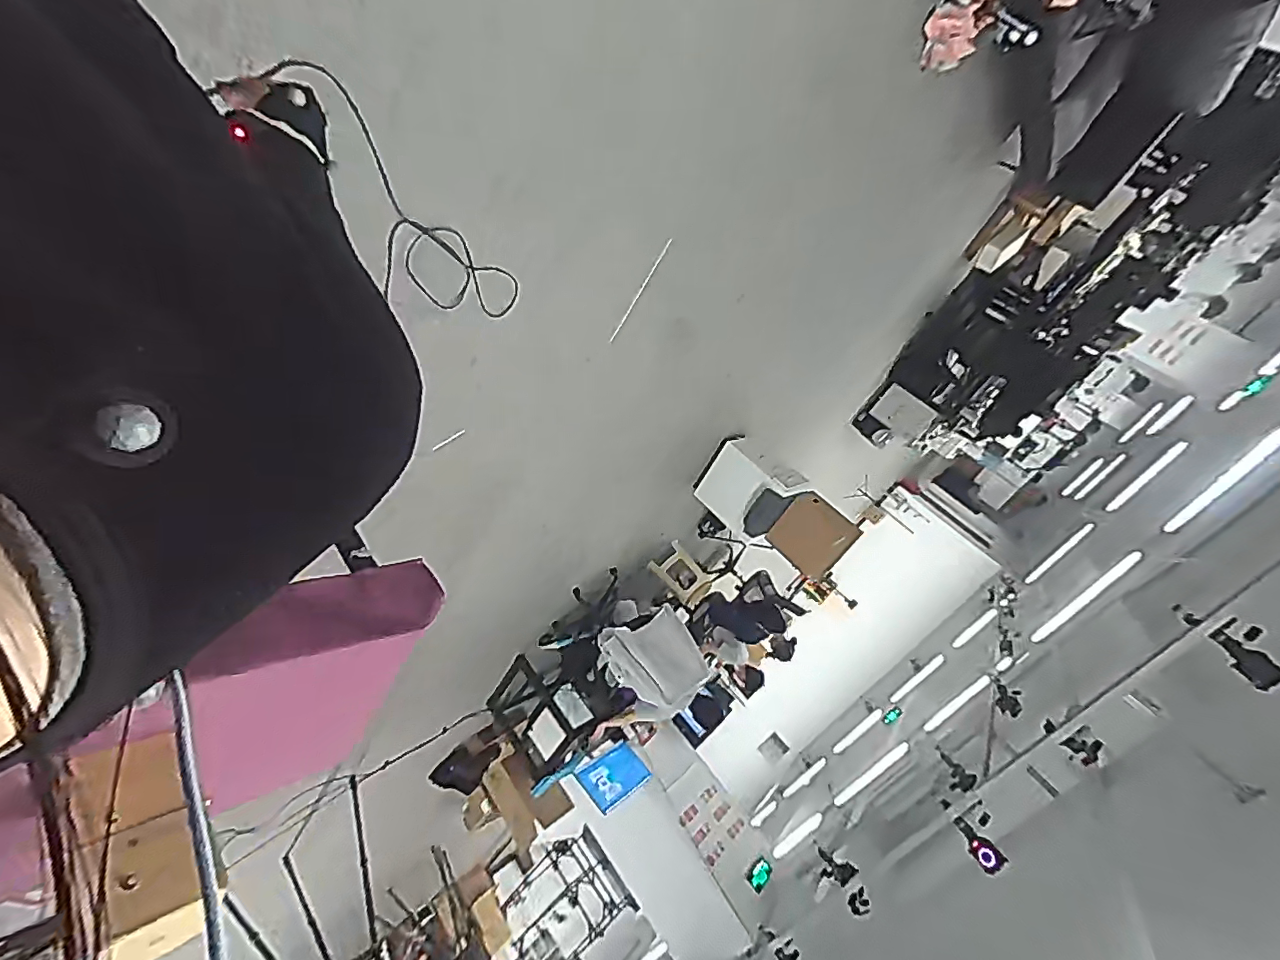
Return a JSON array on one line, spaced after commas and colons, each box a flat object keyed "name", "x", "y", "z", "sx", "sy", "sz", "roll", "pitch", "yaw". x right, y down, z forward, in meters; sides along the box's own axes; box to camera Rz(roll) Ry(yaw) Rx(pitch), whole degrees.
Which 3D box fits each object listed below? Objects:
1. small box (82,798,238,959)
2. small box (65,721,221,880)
[{"name": "small box", "x": -0.848, "y": 0.700, "z": 0.952, "sx": 0.168, "sy": 0.176, "sz": 0.179, "roll": 1, "pitch": 130, "yaw": -54}, {"name": "small box", "x": -0.945, "y": 0.595, "z": 1.029, "sx": 0.179, "sy": 0.176, "sz": 0.168, "roll": 3, "pitch": 129, "yaw": -55}]
